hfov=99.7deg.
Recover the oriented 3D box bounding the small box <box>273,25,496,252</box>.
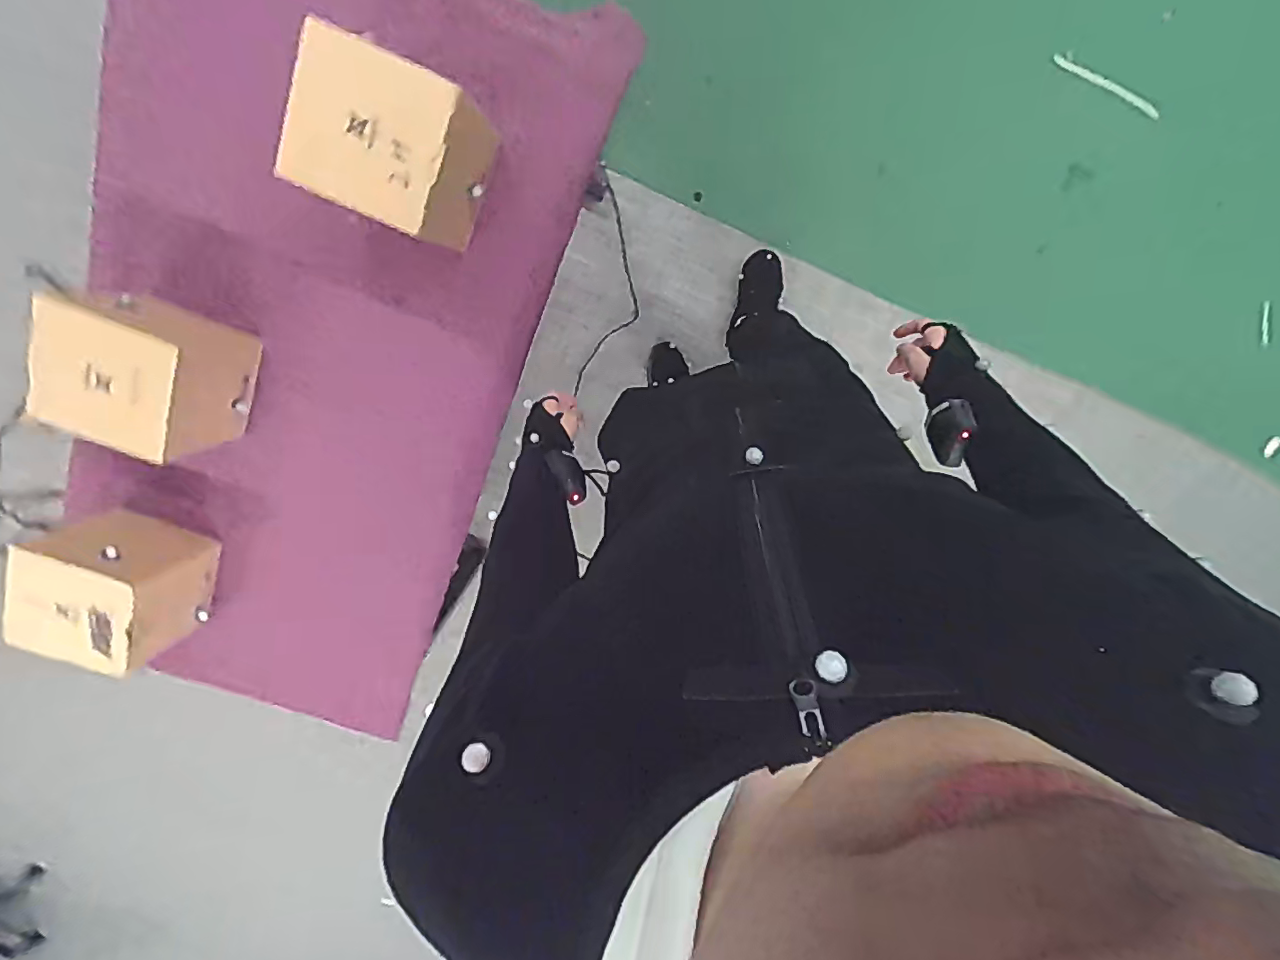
[{"bbox_3d":[-0.309,-0.406,0.683,0.179,0.176,0.168,23,106,-5],"label":"small box"}]

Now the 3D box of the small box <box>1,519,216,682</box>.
[{"bbox_3d":[-0.823,0.179,0.853,0.179,0.176,0.168,20,104,-5],"label":"small box"}]

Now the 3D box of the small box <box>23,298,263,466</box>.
[{"bbox_3d":[-0.687,-0.141,0.765,0.179,0.176,0.168,21,105,-6],"label":"small box"}]
